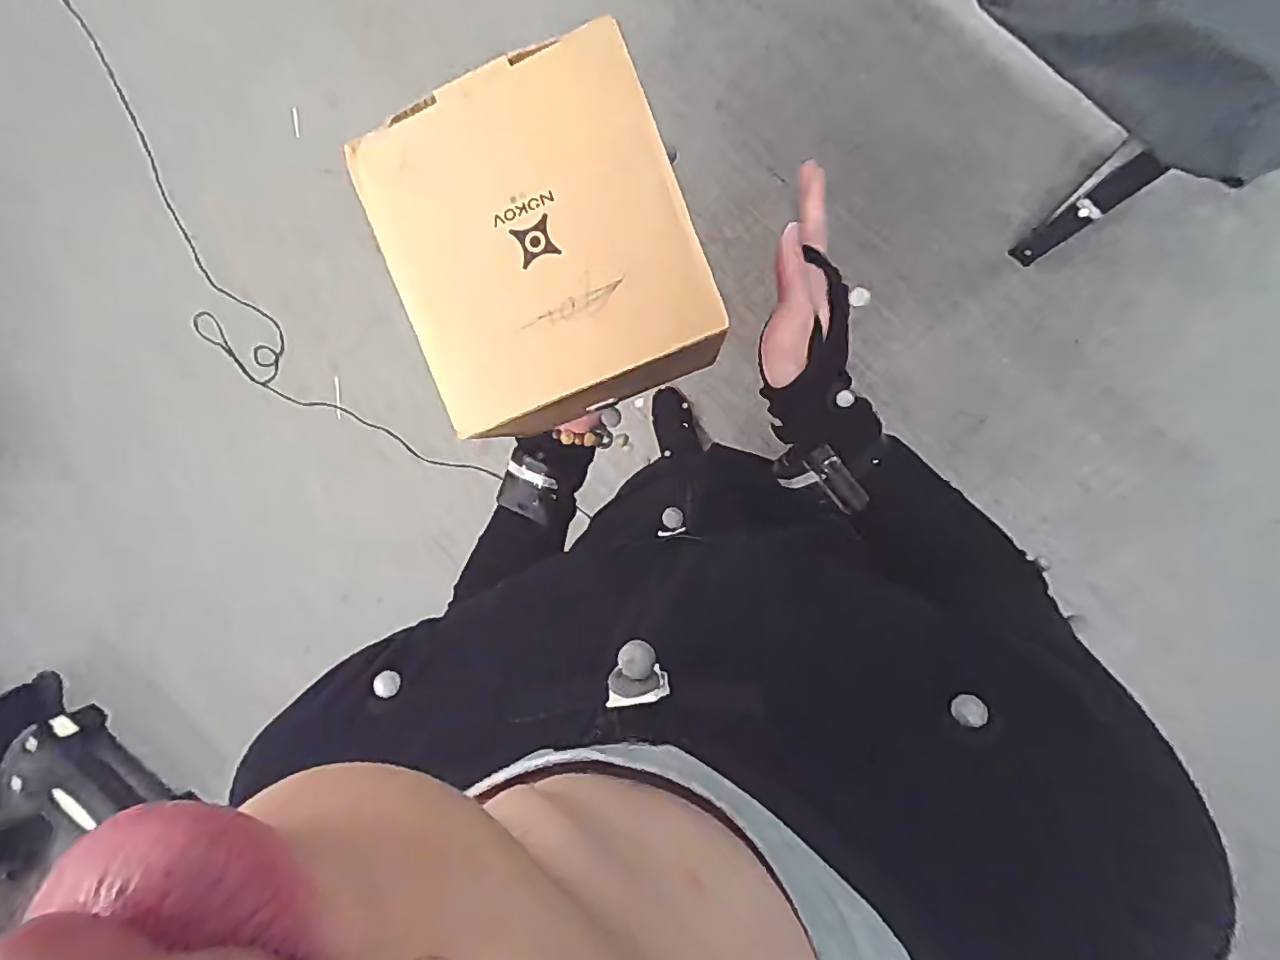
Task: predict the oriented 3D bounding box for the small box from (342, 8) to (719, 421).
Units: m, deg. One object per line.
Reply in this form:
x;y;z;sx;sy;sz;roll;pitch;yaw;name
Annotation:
-0.055;-0.148;0.374;0.168;0.176;0.179;-20;94;7;small box
